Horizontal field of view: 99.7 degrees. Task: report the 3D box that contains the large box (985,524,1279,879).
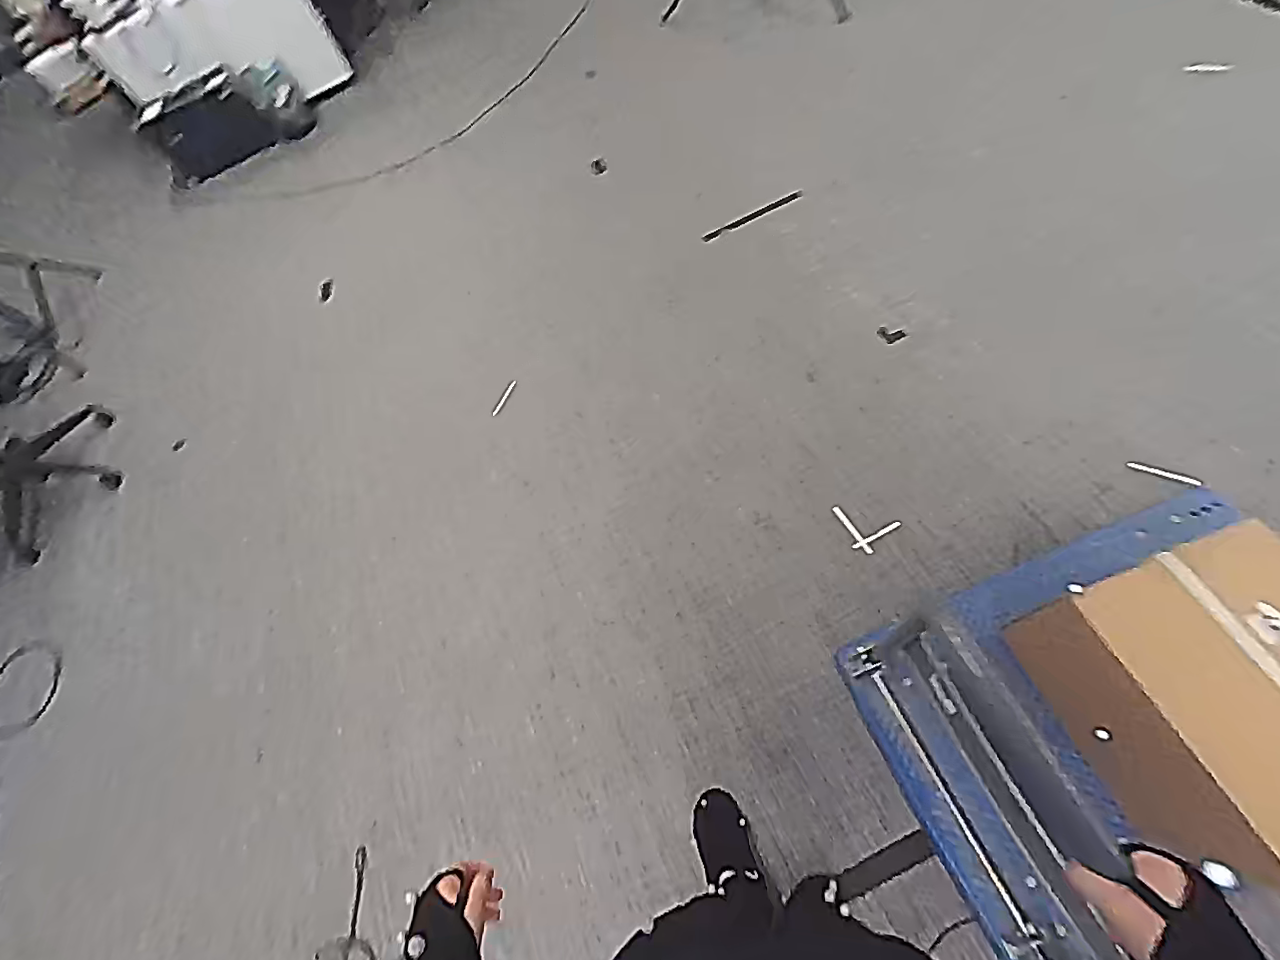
[{"bbox_3d":[0.892,0.354,0.904,0.320,0.320,0.408,-24,60,0],"label":"large box"}]
